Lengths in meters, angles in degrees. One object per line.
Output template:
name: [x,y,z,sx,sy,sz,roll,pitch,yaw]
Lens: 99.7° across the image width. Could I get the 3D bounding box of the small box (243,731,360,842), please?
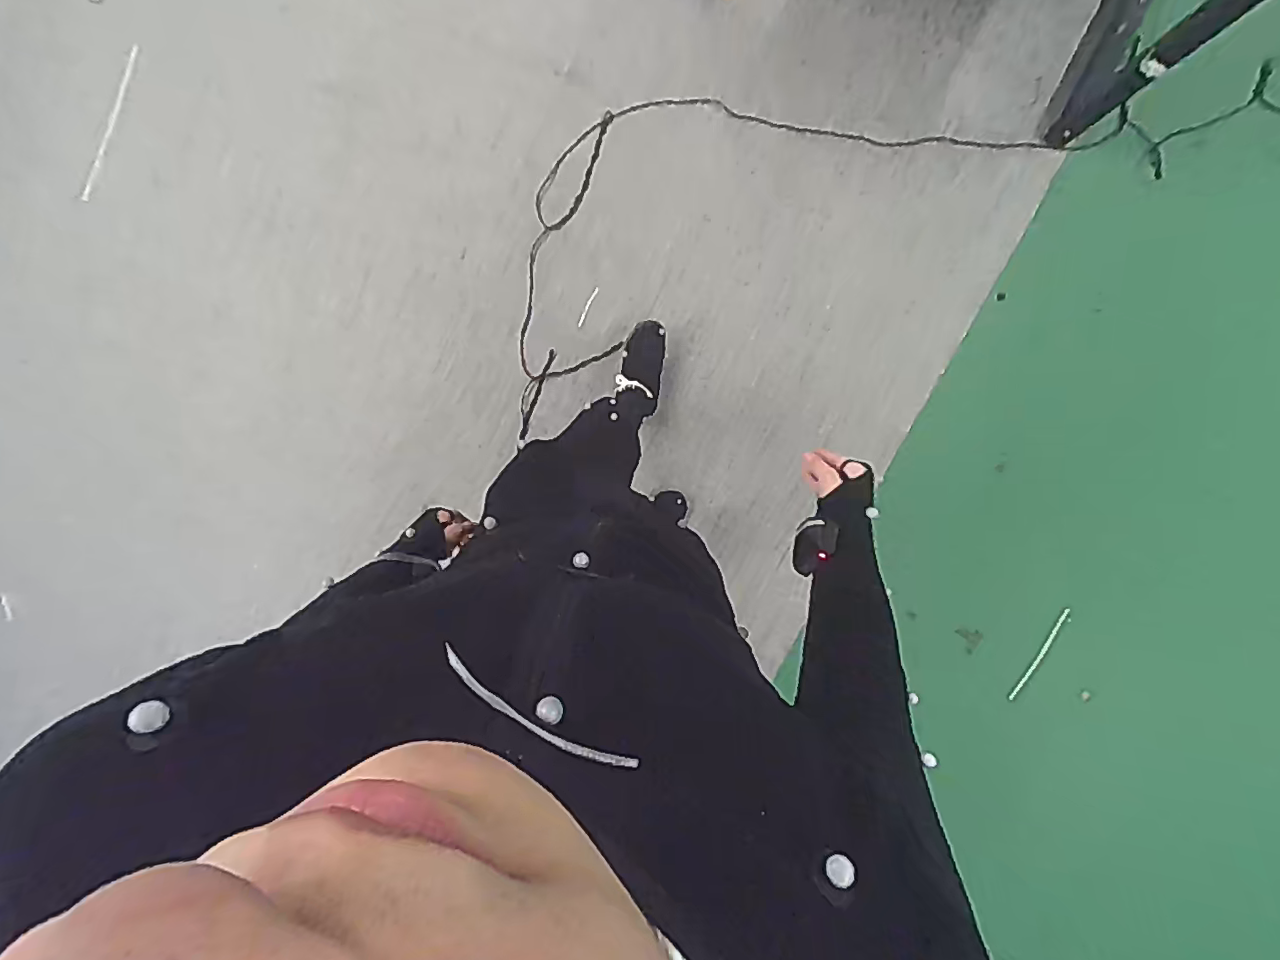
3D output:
small box: [-0.914,0.821,1.474,0.179,0.176,0.168,32,96,-1]
